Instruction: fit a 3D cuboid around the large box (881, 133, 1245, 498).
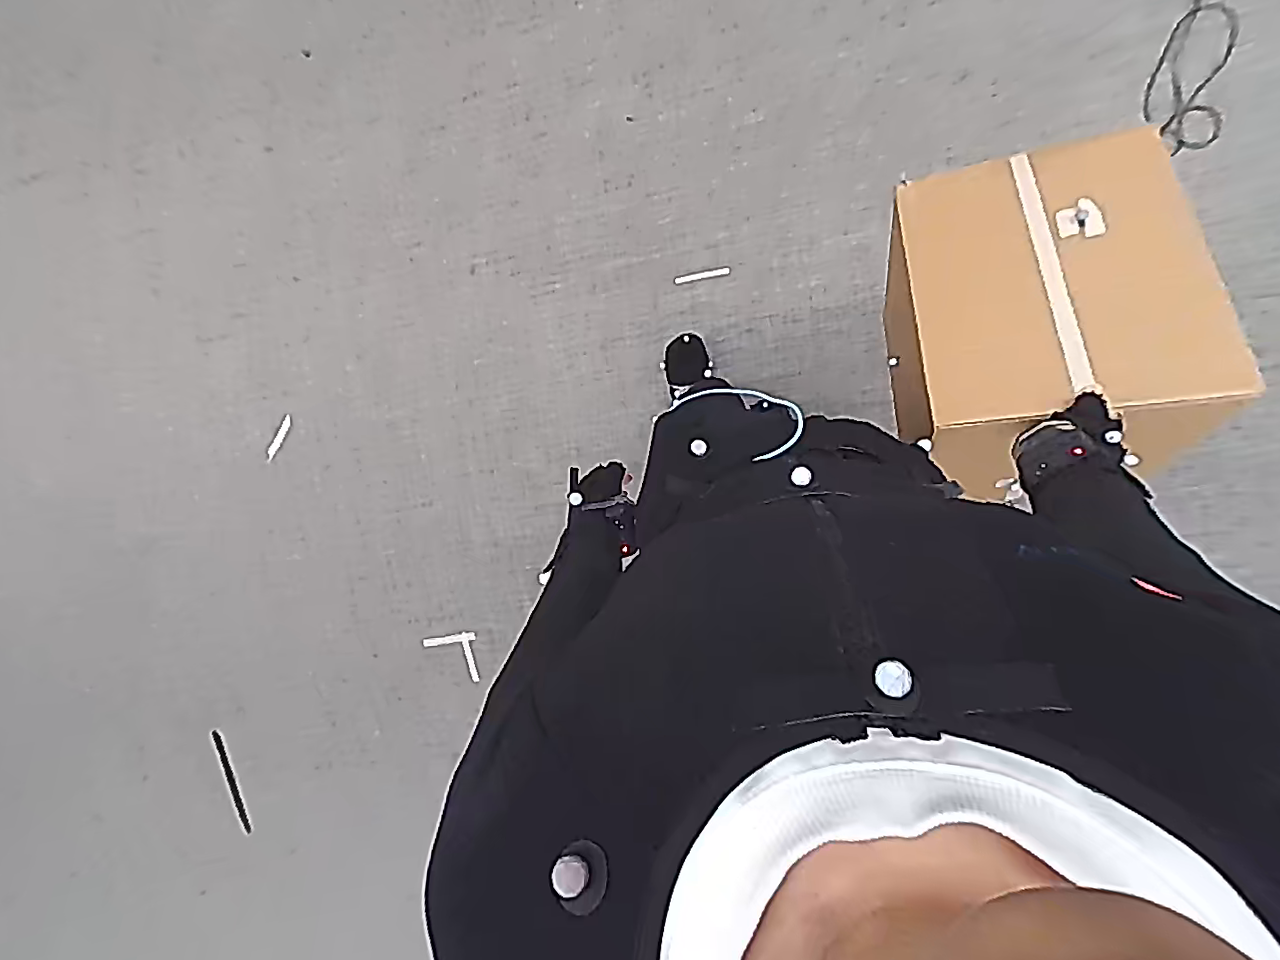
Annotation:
[{"bbox_3d":[0.570,-0.218,0.835,0.320,0.320,0.408,-5,68,18],"label":"large box"}]
